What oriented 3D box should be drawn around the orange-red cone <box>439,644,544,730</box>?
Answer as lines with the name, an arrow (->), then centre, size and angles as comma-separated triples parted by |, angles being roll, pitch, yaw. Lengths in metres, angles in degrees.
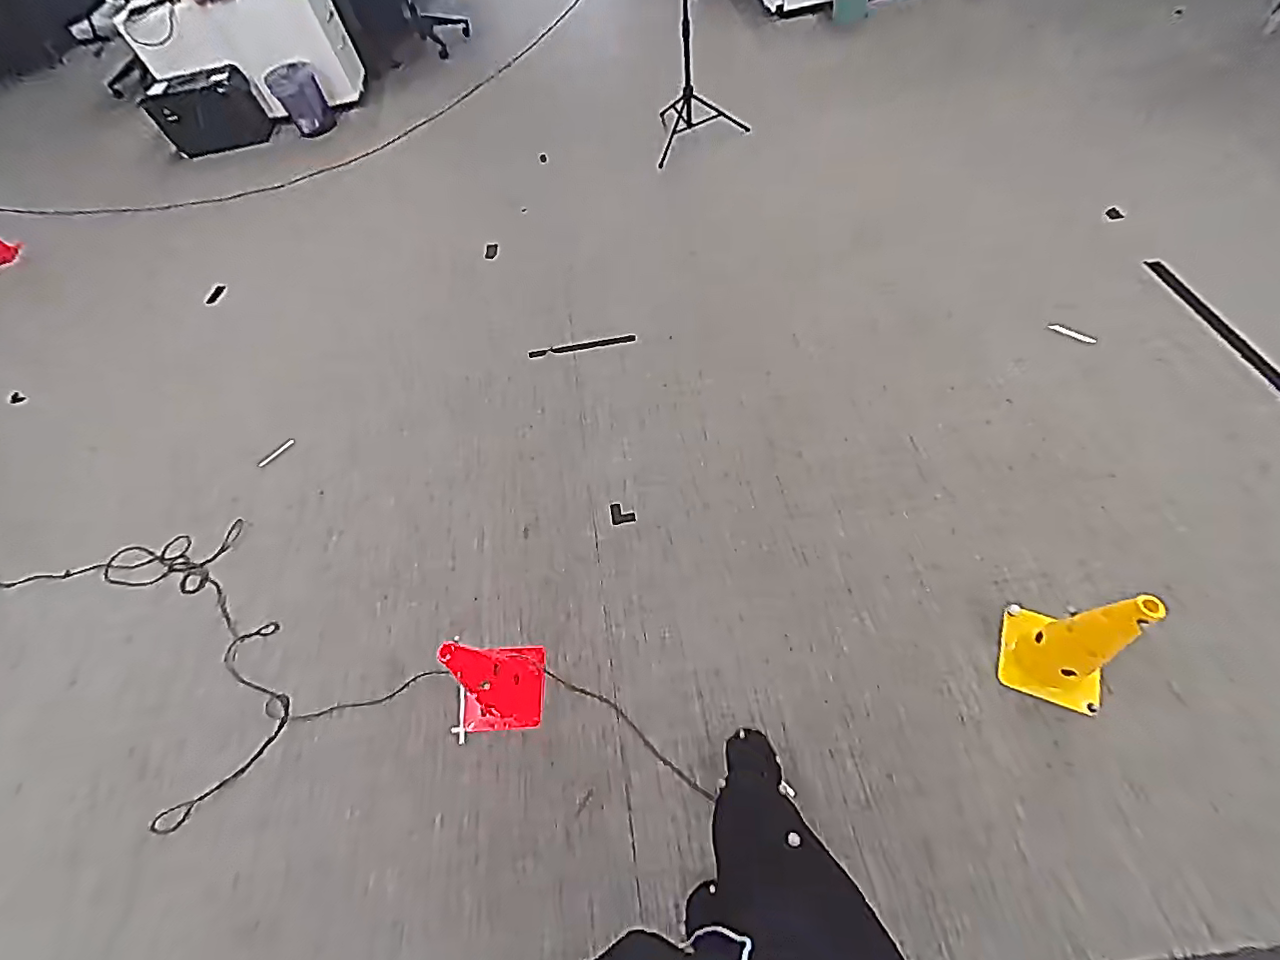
orange-red cone -> -0.361, 0.434, 1.222 | 0.199, 0.360, 0.198 | -3, 58, 5
